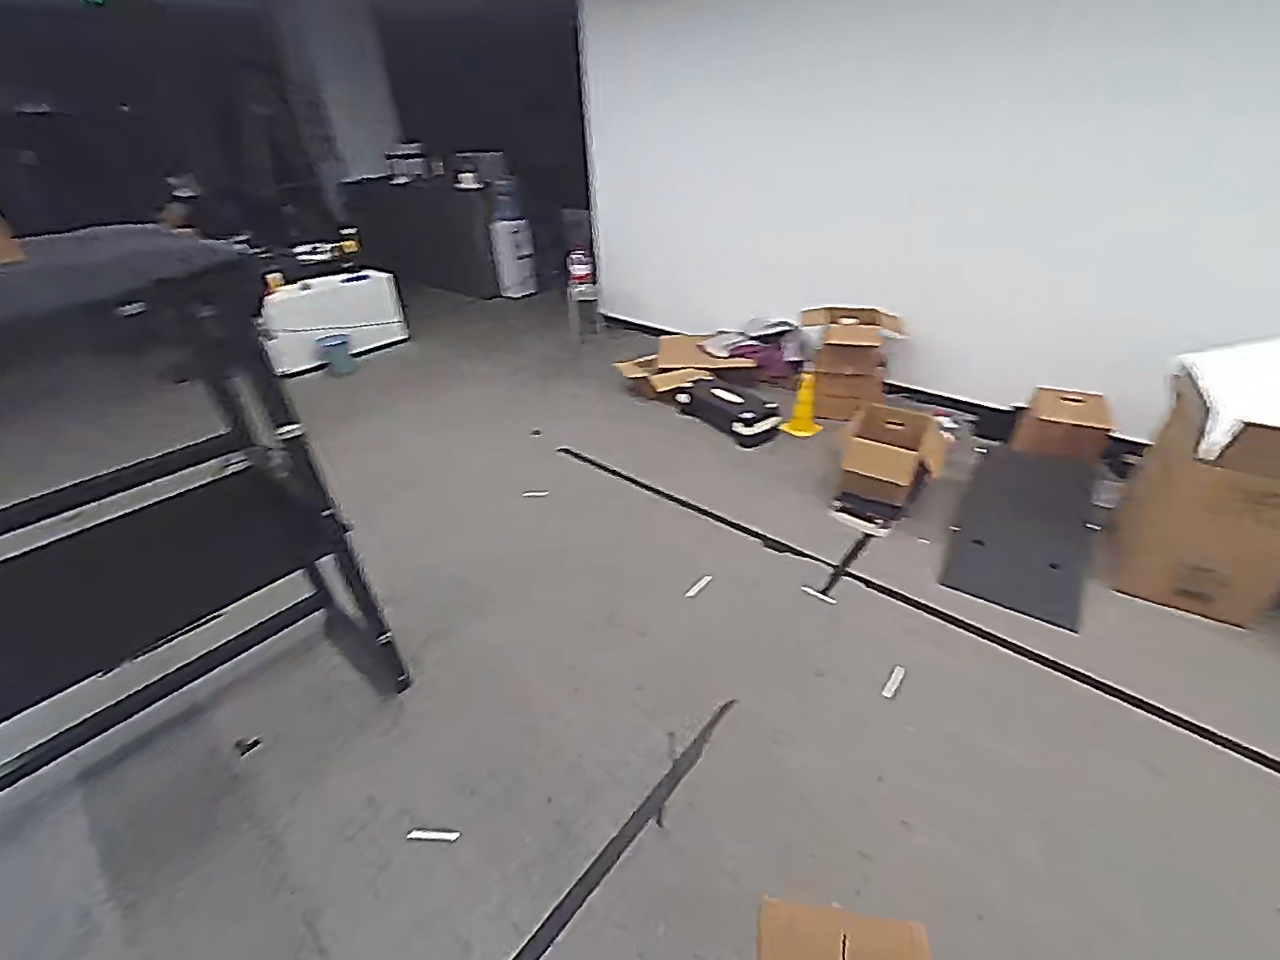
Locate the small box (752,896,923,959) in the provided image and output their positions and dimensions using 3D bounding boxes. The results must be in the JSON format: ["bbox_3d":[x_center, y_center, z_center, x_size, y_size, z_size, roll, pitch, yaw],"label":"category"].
[{"bbox_3d":[0.203,0.566,0.570,0.168,0.176,0.179,0,48,10],"label":"small box"}]
